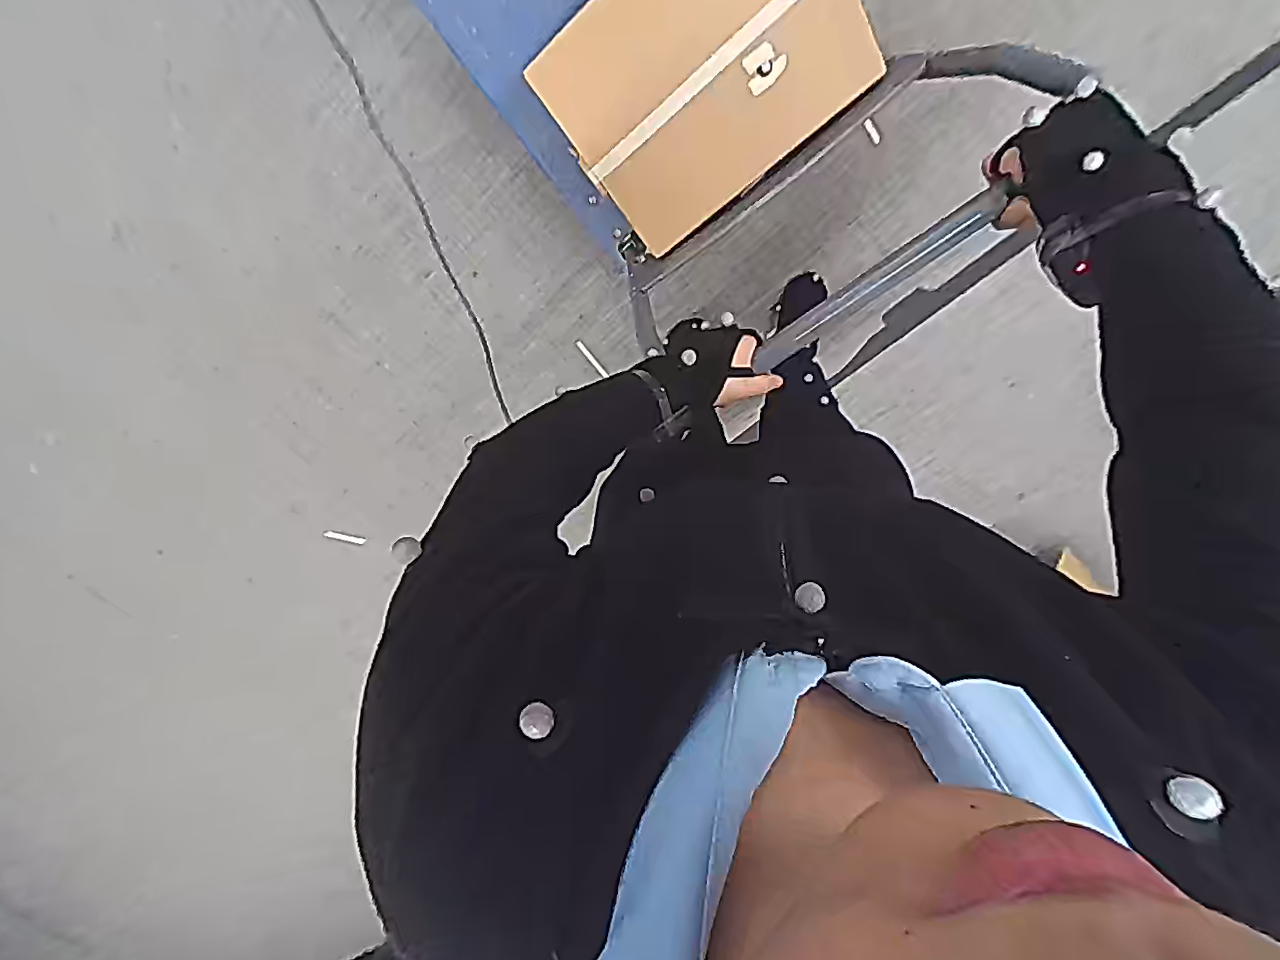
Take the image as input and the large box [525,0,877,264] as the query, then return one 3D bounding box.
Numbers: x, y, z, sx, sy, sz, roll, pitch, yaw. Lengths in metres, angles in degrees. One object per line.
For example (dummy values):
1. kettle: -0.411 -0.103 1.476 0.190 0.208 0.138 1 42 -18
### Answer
1. large box: 0.080 -0.630 0.876 0.408 0.320 0.320 -35 117 18
